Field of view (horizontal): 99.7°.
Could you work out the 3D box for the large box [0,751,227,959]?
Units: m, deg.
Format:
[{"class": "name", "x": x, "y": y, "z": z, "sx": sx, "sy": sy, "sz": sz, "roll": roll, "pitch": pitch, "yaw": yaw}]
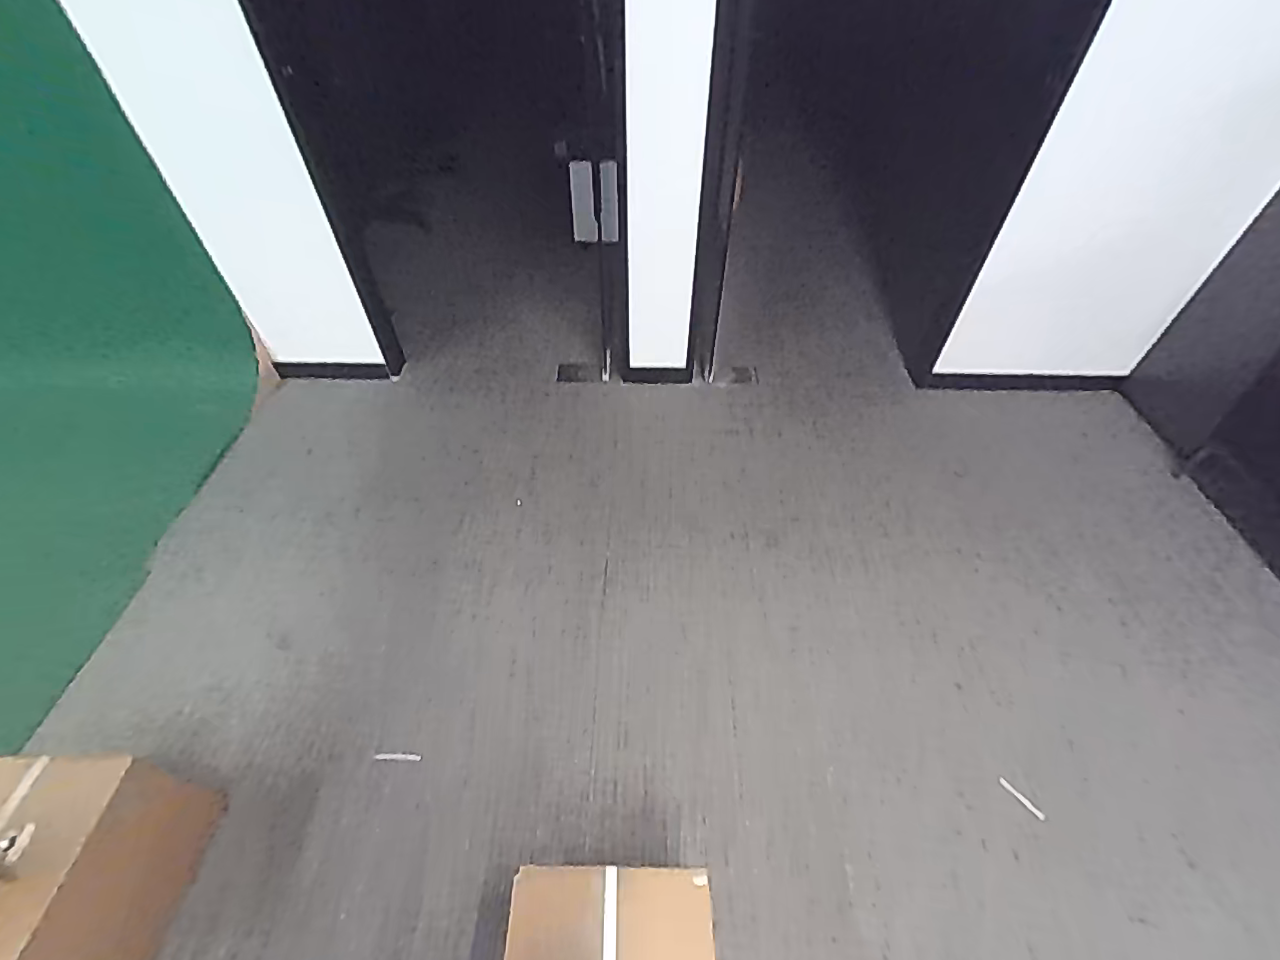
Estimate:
[{"class": "large box", "x": -1.056, "y": 0.742, "z": 0.952, "sx": 0.320, "sy": 0.320, "sz": 0.408, "roll": 0, "pitch": 47, "yaw": 0}]
